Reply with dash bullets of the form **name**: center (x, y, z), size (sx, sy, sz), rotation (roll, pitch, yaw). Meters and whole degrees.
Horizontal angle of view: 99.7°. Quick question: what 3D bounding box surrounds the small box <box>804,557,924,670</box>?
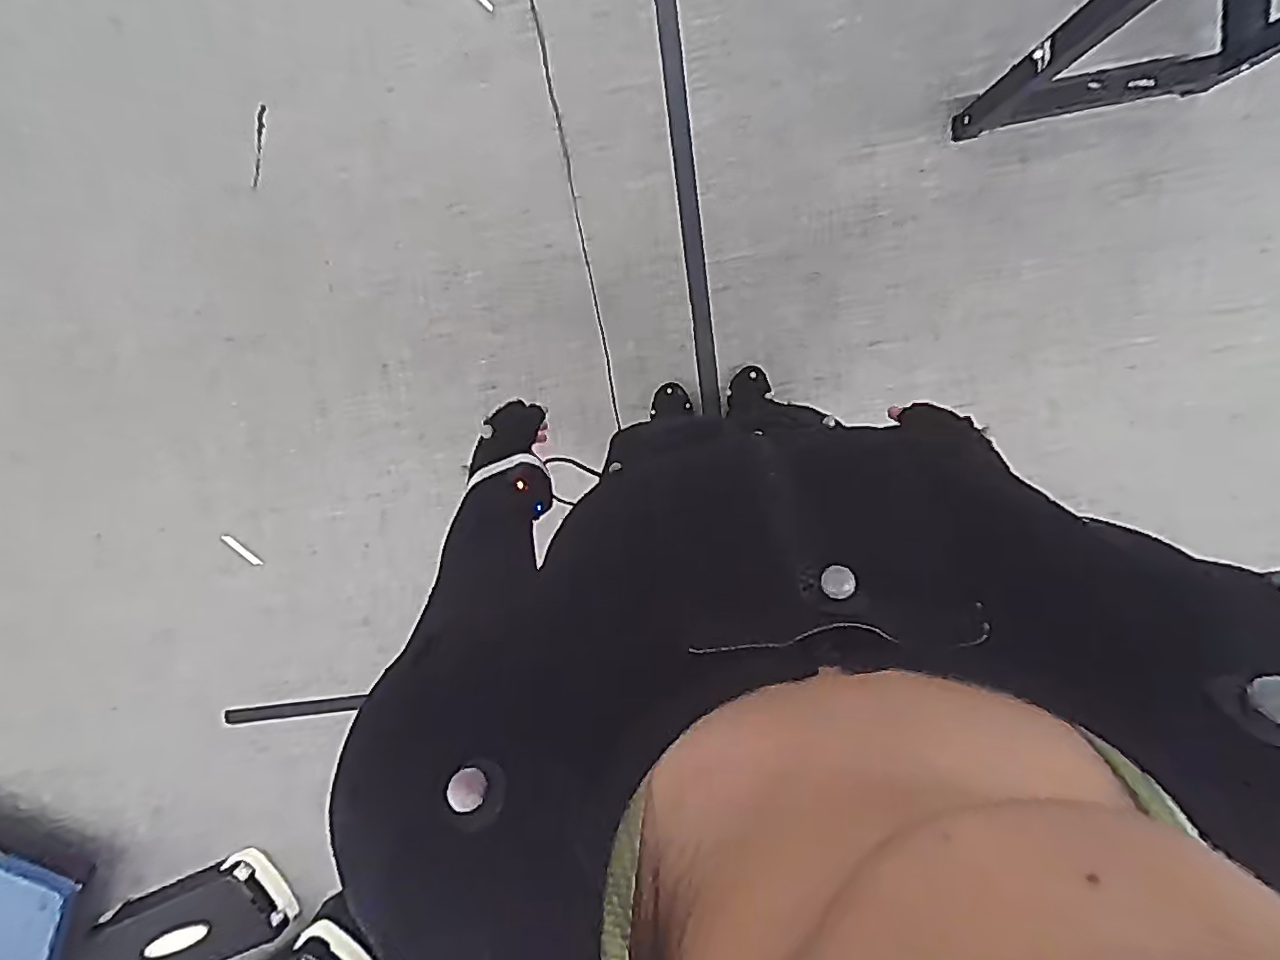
- **small box**: center (0.527, 0.313, 1.286), size (0.179, 0.176, 0.168), rotation (28, 102, -4)
